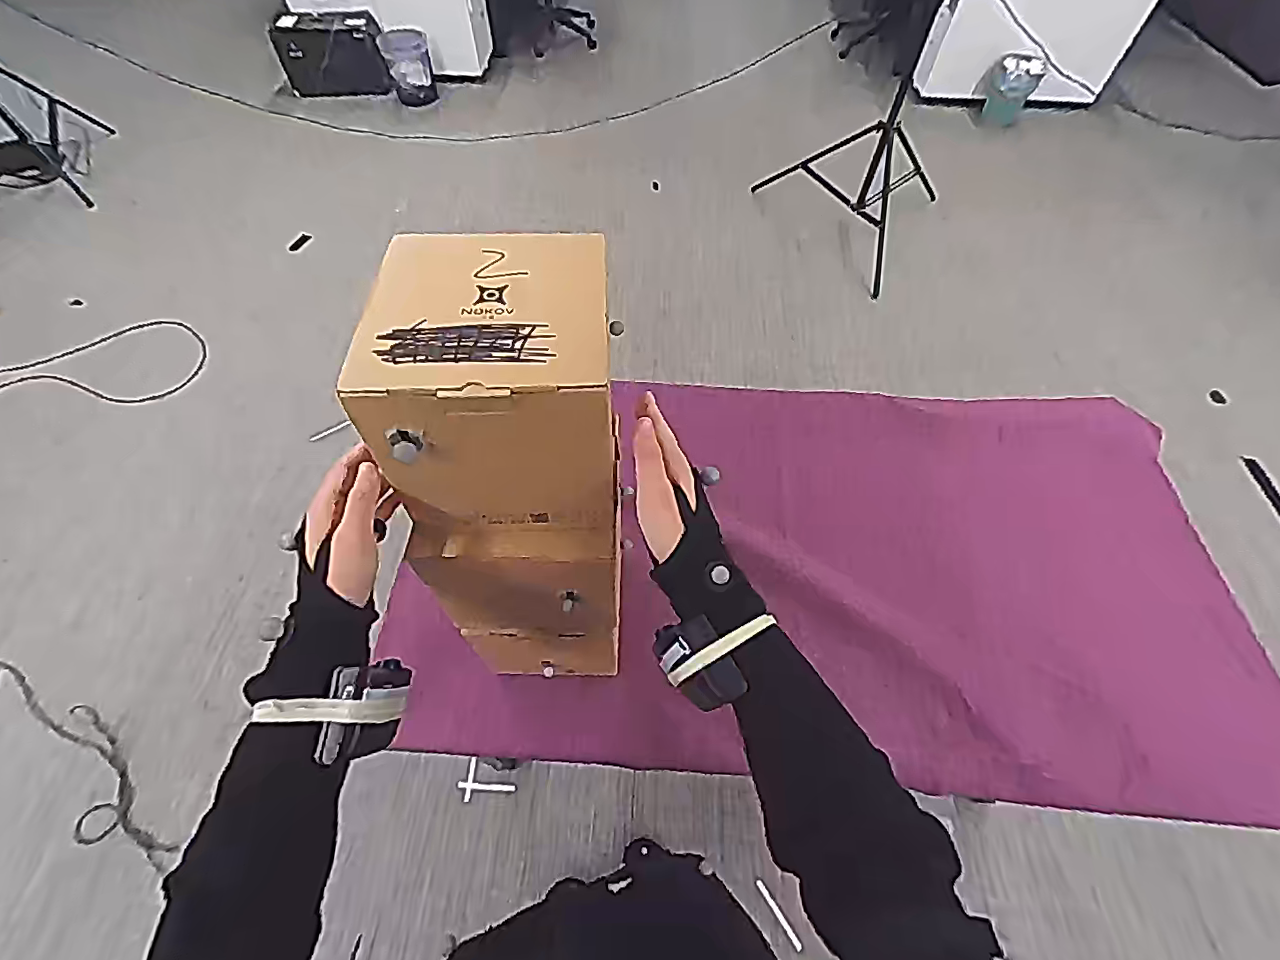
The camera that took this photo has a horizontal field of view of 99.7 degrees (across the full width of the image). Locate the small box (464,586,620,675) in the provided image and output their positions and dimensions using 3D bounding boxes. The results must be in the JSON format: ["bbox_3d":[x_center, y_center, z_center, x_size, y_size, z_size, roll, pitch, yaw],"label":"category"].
[{"bbox_3d":[-0.112,0.139,0.698,0.168,0.176,0.179,1,56,0],"label":"small box"}]

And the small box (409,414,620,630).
[{"bbox_3d":[-0.109,0.048,0.563,0.179,0.176,0.168,-1,54,-1],"label":"small box"}]
